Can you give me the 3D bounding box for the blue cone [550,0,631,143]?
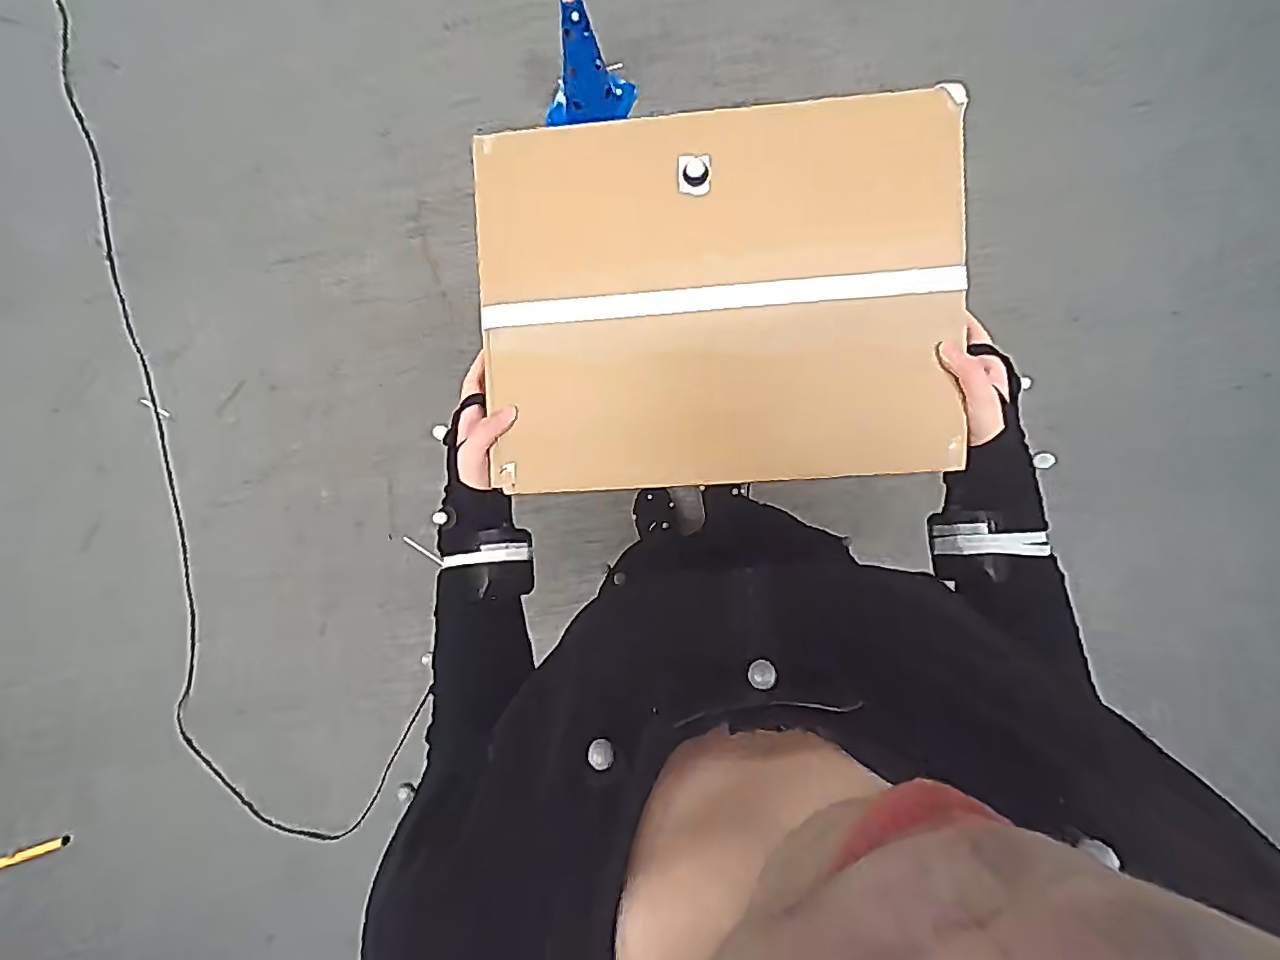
[{"bbox_3d":[-0.137,-1.010,1.279,0.192,0.380,0.193,23,92,0],"label":"blue cone"}]
